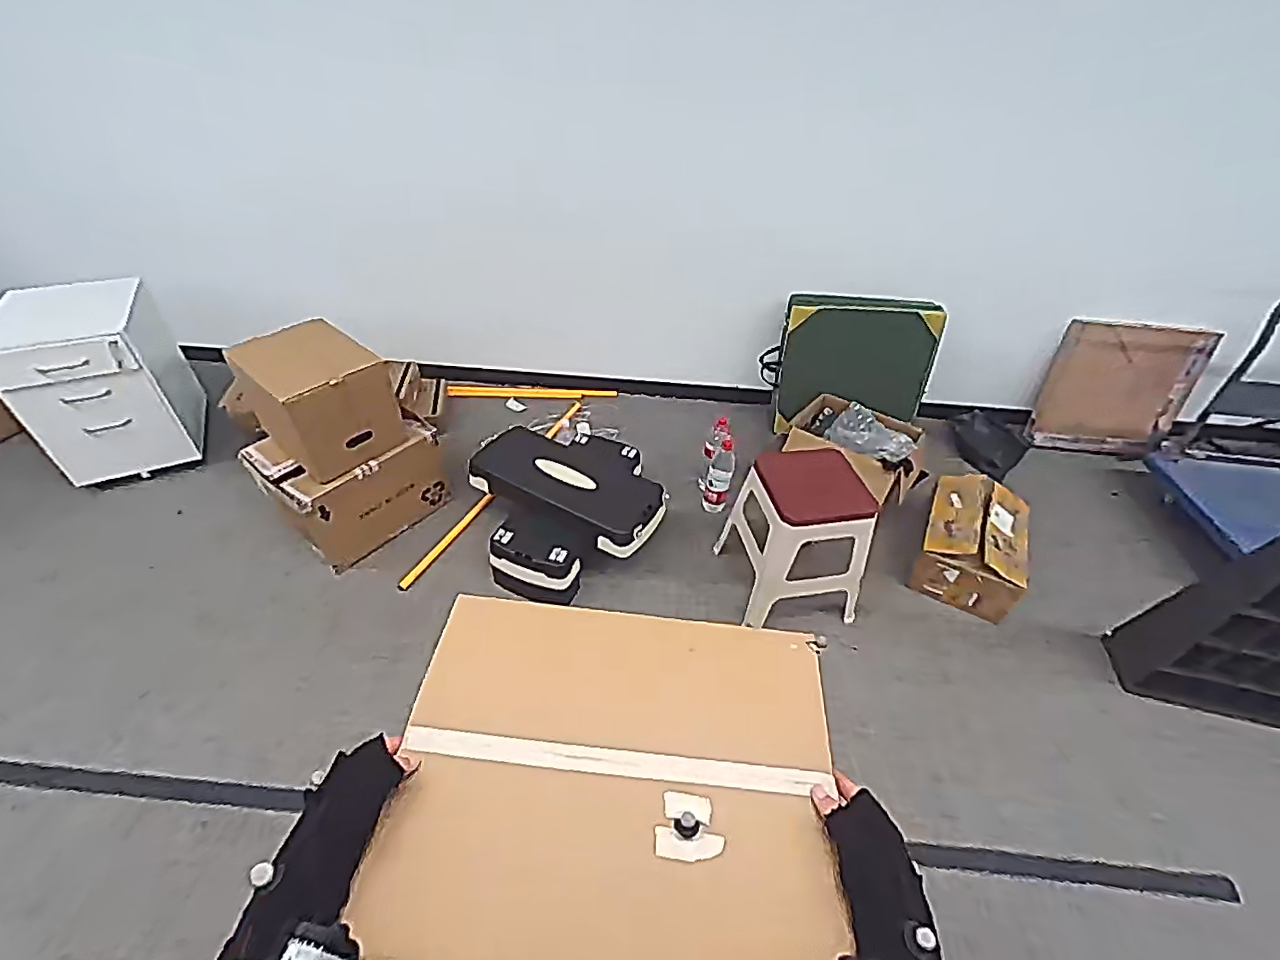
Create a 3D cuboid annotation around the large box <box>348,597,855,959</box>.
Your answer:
[{"bbox_3d":[-0.029,0.366,0.622,0.408,0.320,0.320,7,46,1],"label":"large box"}]
